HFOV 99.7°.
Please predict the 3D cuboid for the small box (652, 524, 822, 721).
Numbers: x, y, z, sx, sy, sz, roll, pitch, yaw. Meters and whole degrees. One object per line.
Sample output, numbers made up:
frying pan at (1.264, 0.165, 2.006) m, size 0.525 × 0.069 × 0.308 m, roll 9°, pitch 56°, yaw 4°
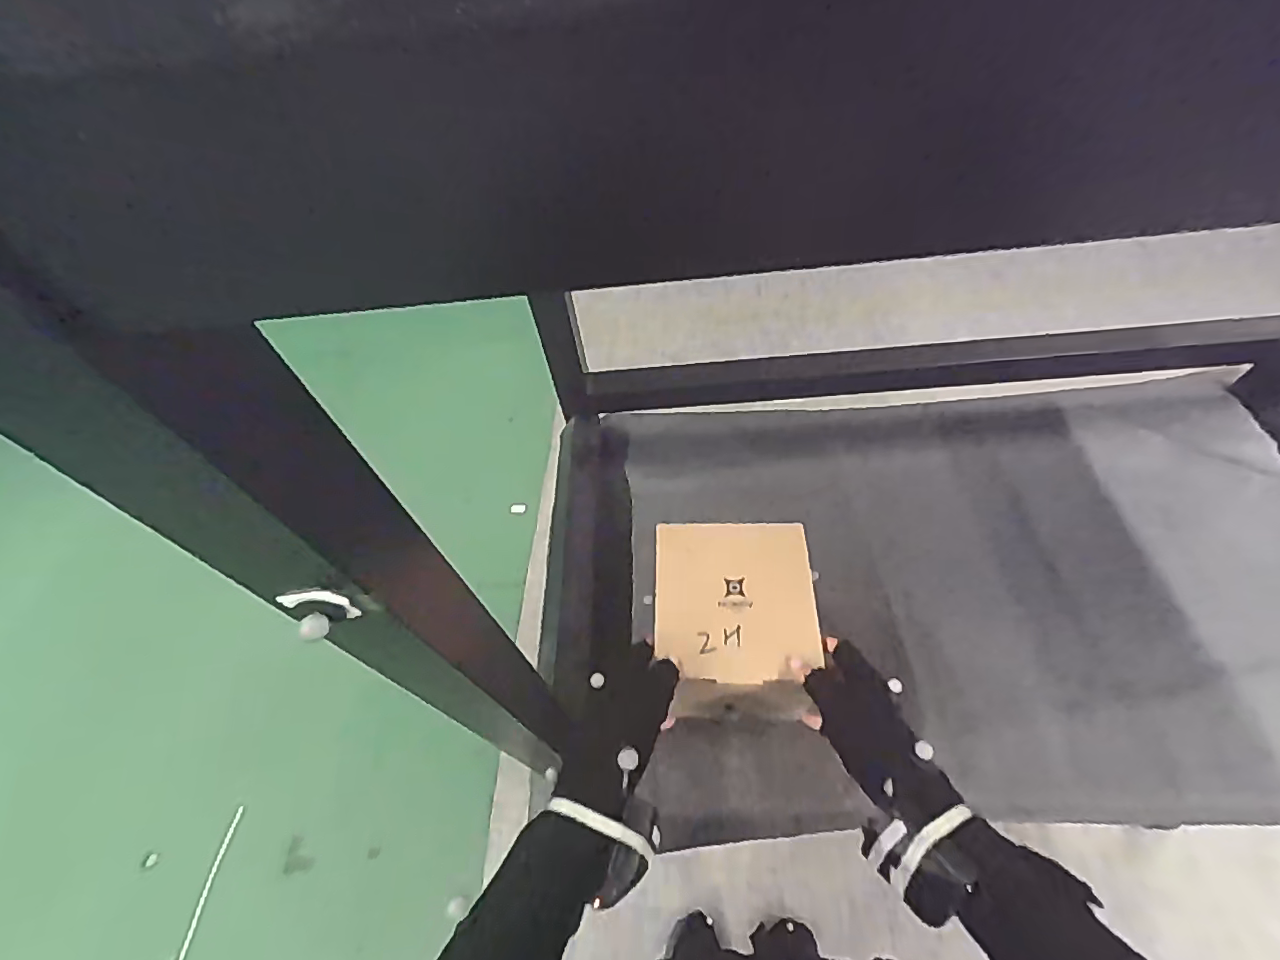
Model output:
small box at (0.102, 0.168, 0.633) m, size 0.168 × 0.176 × 0.179 m, roll 0°, pitch 55°, yaw 5°
